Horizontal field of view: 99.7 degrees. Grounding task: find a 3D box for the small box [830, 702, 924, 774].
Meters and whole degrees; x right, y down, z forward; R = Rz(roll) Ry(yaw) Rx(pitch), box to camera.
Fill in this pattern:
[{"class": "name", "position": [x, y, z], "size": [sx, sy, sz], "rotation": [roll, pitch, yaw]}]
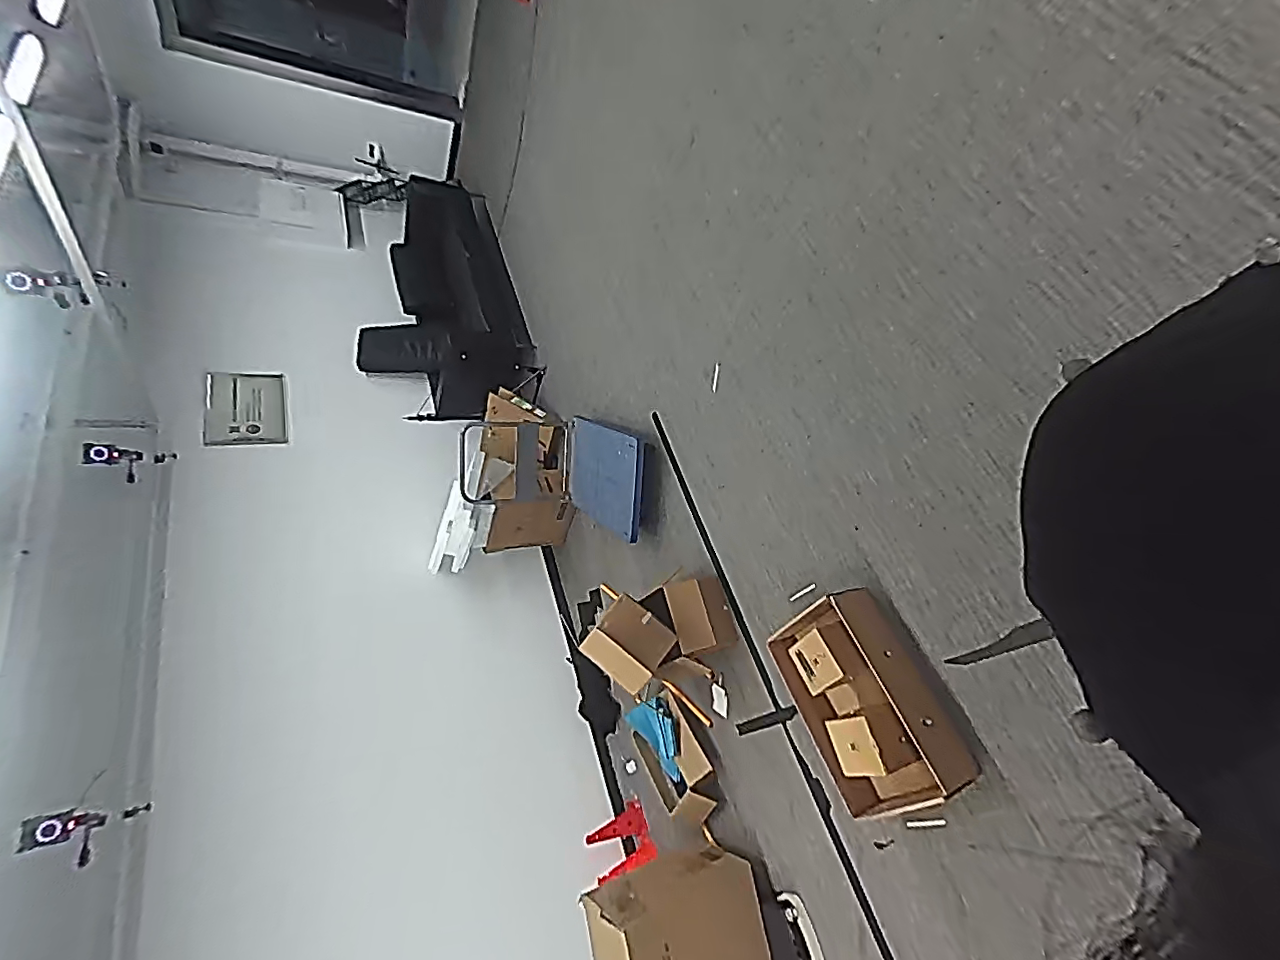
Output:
[{"class": "small box", "position": [0.739, 0.808, 1.691], "size": [0.179, 0.176, 0.168], "rotation": [-48, 52, 52]}]
